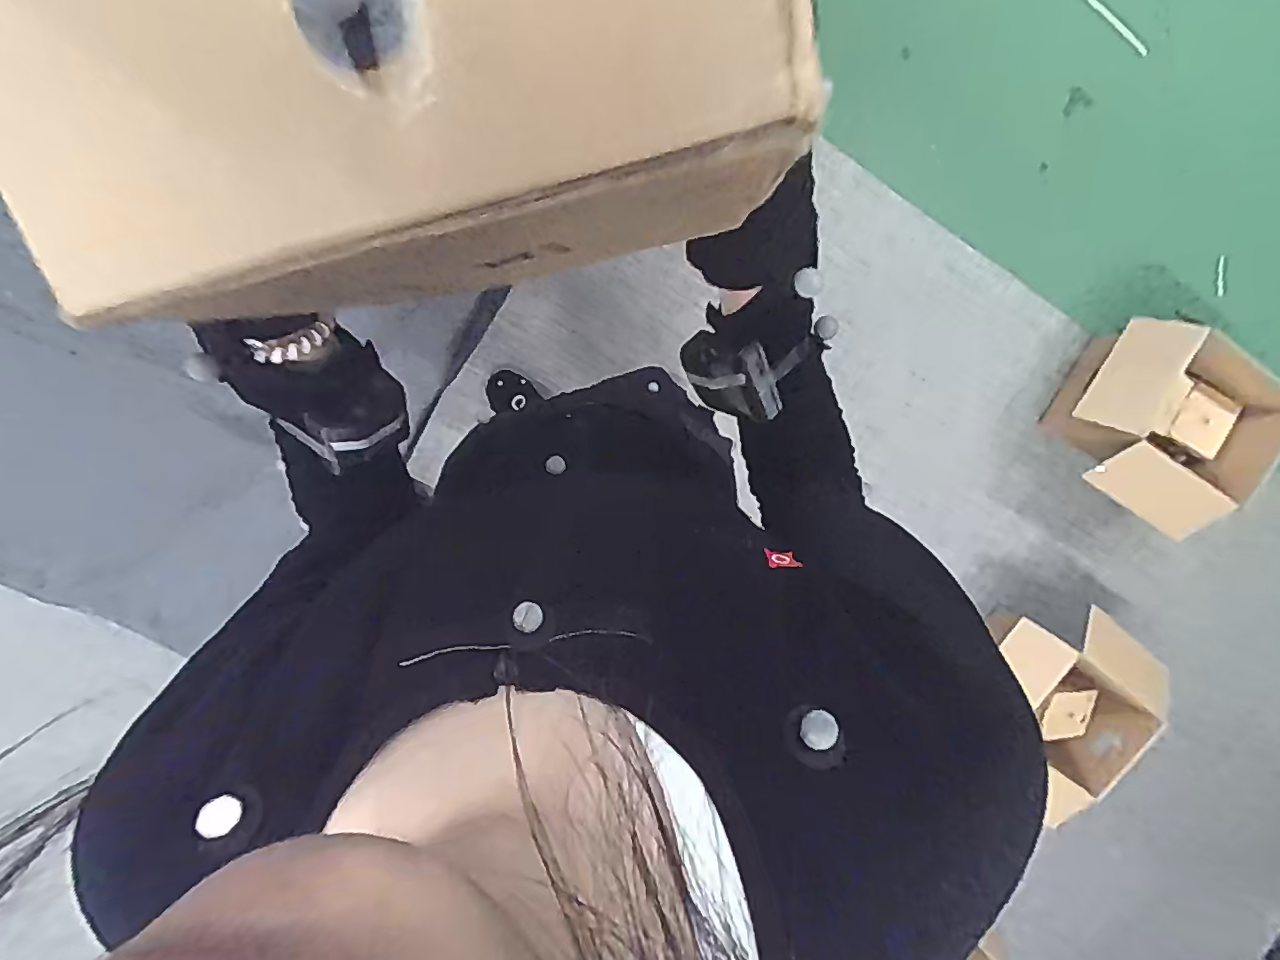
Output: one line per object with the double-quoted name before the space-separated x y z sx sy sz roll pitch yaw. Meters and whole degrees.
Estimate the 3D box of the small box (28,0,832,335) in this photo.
"small box" -0.056 -0.157 0.174 0.179 0.168 0.176 -11 108 9
